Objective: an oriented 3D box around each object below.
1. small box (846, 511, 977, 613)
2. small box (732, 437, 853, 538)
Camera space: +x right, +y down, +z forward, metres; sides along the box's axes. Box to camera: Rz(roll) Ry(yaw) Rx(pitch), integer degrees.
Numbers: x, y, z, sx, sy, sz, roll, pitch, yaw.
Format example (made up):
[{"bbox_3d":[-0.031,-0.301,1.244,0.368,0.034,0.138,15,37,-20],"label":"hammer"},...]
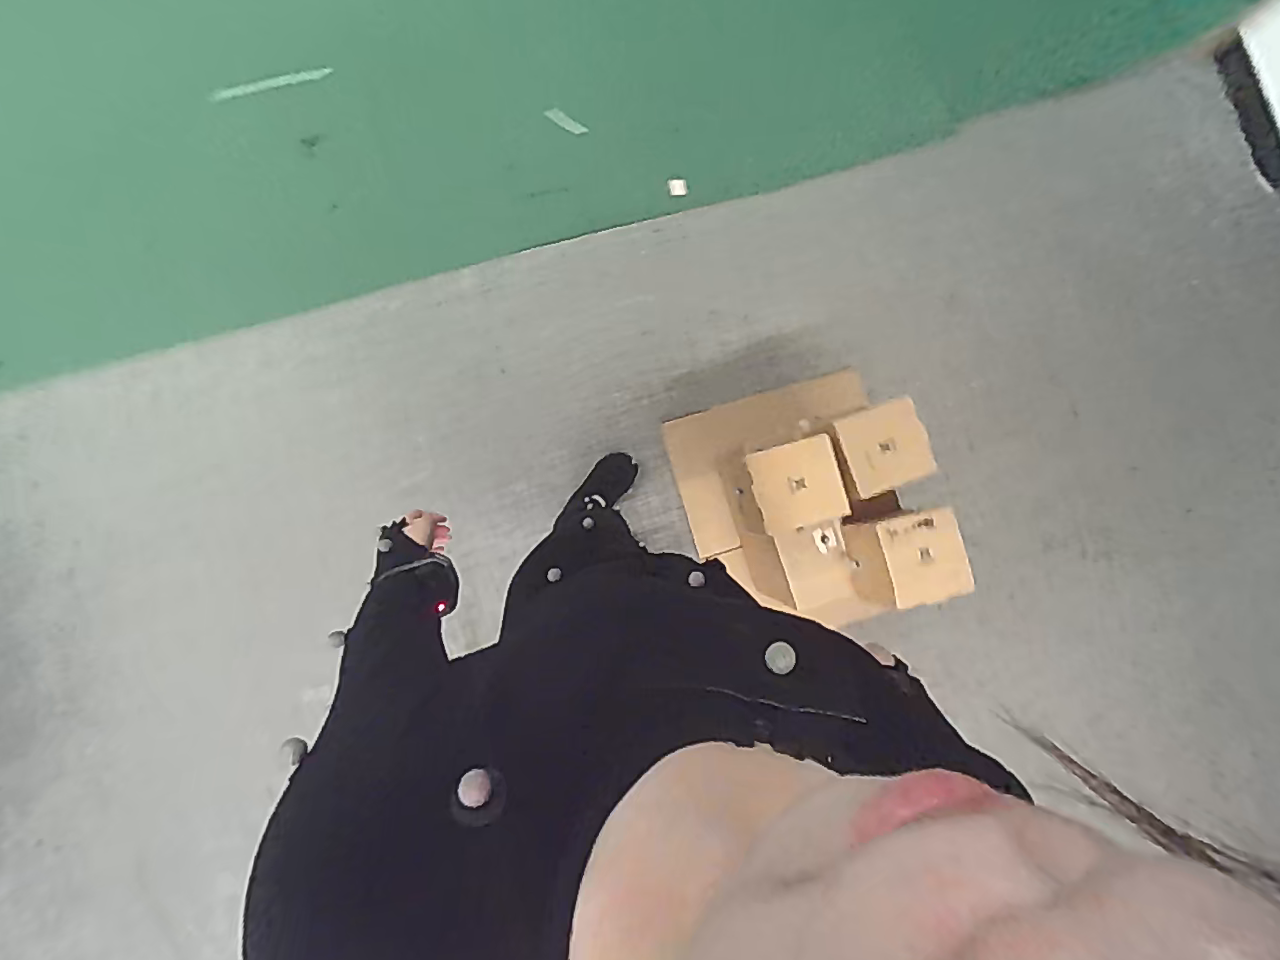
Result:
[{"bbox_3d":[0.559,0.164,1.134,0.168,0.176,0.179,-12,86,-5],"label":"small box"},{"bbox_3d":[0.311,0.016,1.131,0.179,0.176,0.168,-15,88,-3],"label":"small box"}]
